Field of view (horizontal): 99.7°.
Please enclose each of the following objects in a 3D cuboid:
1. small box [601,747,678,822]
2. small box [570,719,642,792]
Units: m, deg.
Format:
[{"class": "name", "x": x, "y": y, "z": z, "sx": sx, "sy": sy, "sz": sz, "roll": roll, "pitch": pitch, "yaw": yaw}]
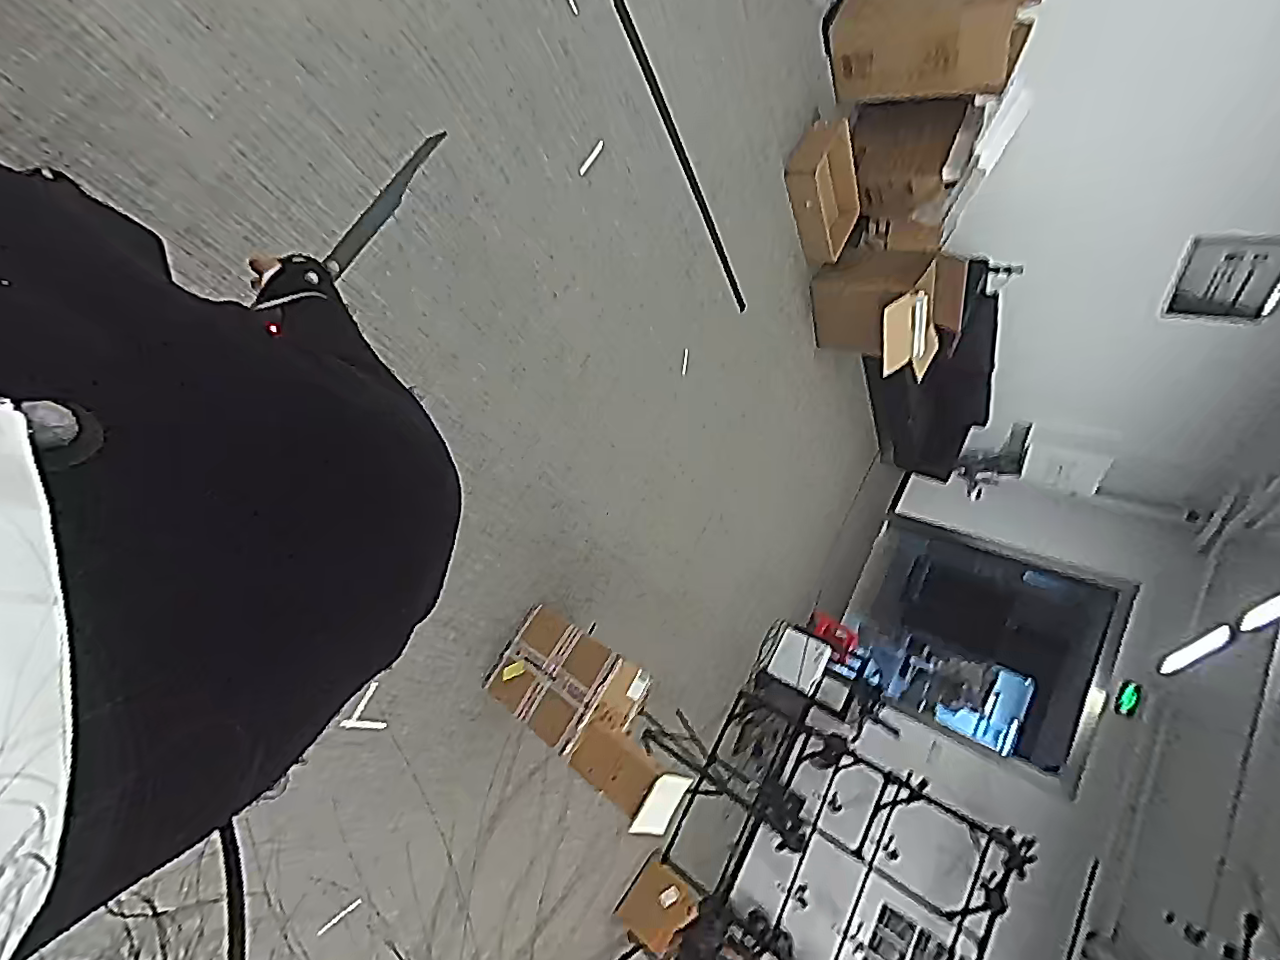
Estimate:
[{"class": "small box", "x": -0.003, "y": 1.062, "z": 1.890, "sx": 0.168, "sy": 0.176, "sz": 0.179, "roll": -58, "pitch": 142, "yaw": -12}, {"class": "small box", "x": -0.129, "y": 1.011, "z": 1.981, "sx": 0.179, "sy": 0.176, "sz": 0.168, "roll": -61, "pitch": 142, "yaw": -11}]
